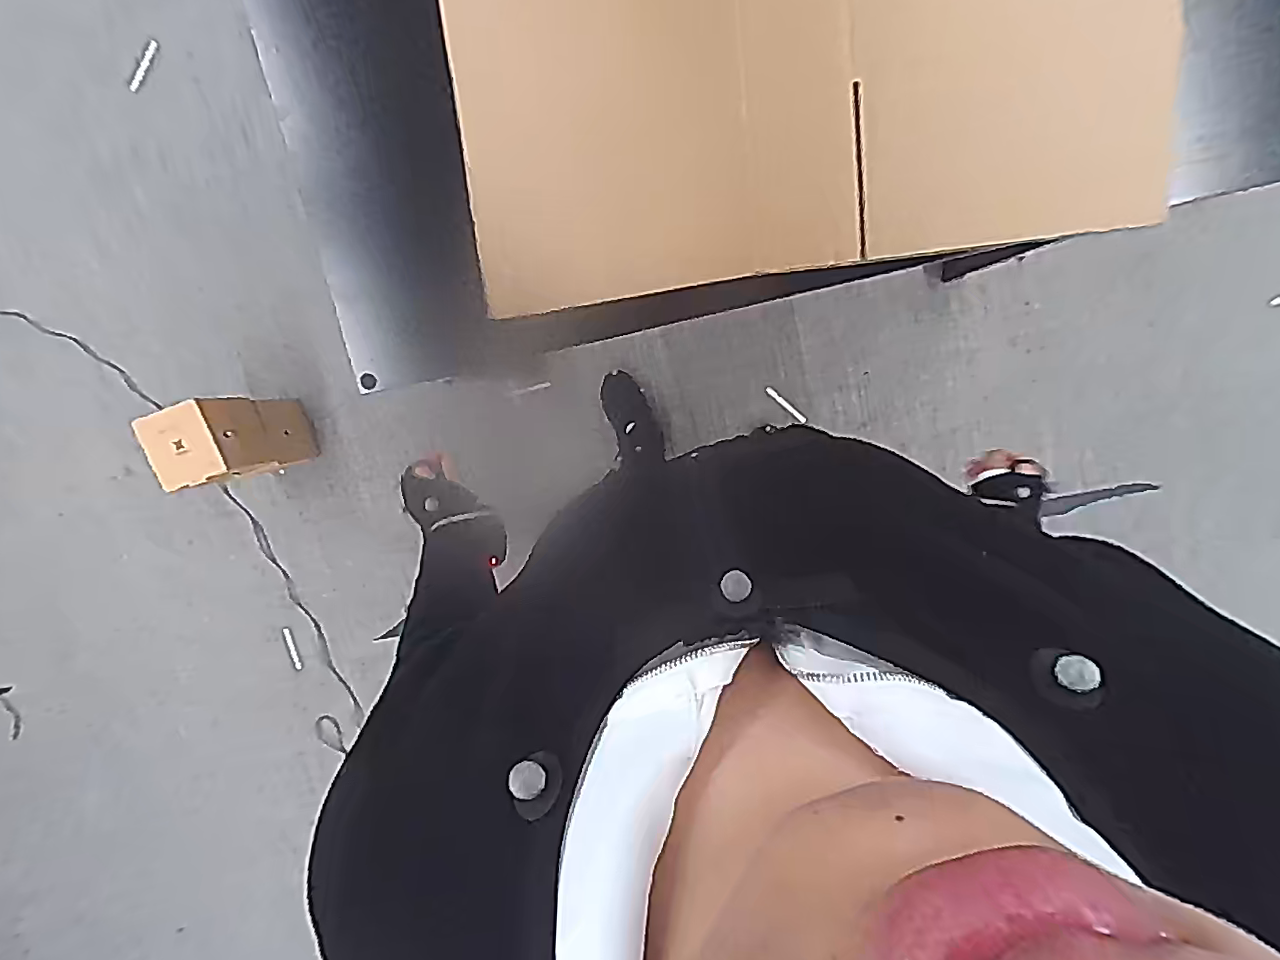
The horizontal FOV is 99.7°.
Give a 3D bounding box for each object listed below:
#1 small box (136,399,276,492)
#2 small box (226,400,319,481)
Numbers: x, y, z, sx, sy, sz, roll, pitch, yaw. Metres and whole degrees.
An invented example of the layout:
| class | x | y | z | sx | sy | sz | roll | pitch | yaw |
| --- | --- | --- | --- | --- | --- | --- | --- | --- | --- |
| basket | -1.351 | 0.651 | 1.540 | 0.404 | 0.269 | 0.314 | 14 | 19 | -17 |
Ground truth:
| class | x | y | z | sx | sy | sz | roll | pitch | yaw |
| --- | --- | --- | --- | --- | --- | --- | --- | --- | --- |
| small box | -1.023 | -0.089 | 1.293 | 0.168 | 0.176 | 0.179 | -19 | 97 | 5 |
| small box | -1.011 | -0.111 | 1.453 | 0.168 | 0.176 | 0.179 | -16 | 99 | 6 |
